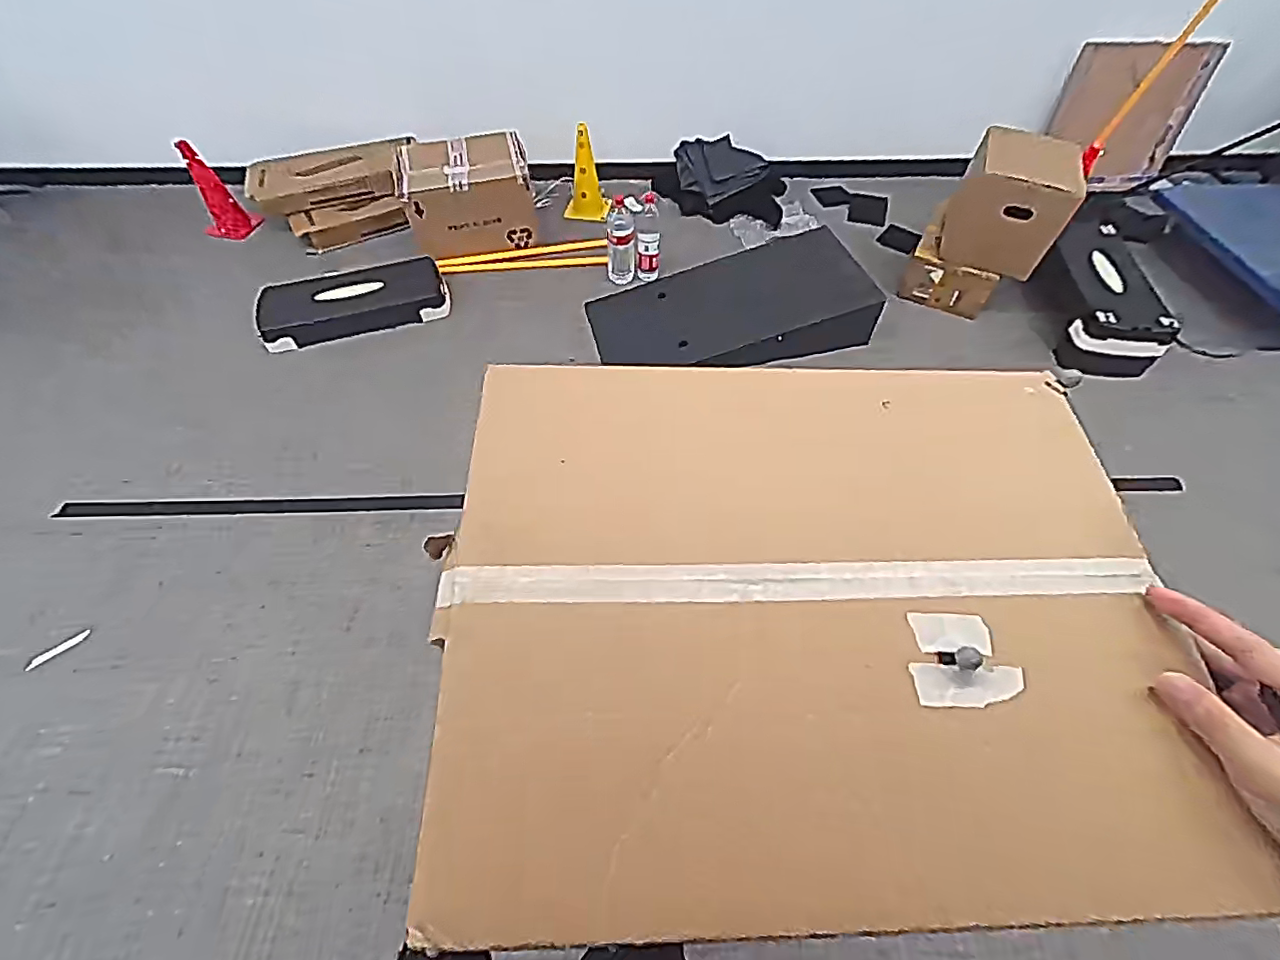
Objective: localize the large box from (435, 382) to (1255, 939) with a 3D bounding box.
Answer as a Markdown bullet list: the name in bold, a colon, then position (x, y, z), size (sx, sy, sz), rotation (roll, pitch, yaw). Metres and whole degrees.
- **large box**: position (0.089, 0.135, 0.450), size (0.408, 0.320, 0.320), rotation (0, 62, -4)
